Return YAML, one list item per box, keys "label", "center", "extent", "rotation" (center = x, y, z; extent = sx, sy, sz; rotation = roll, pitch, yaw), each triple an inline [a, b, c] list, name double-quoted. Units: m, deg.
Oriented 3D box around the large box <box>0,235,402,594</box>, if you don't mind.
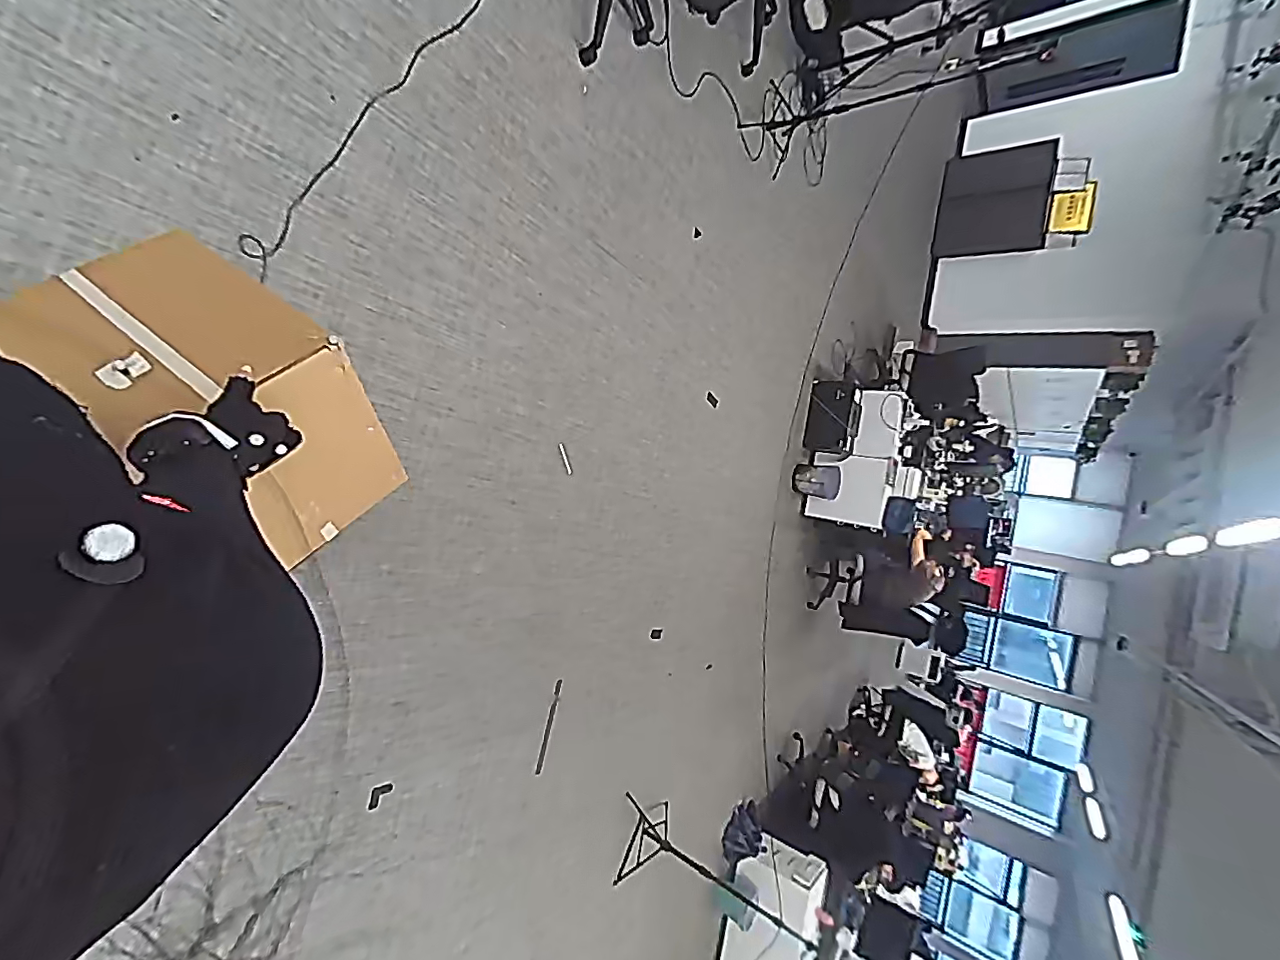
- label: "large box"
  center: [-0.658, -0.102, 0.832]
  extent: [0.320, 0.408, 0.320]
  rotation: [-47, 160, -29]
